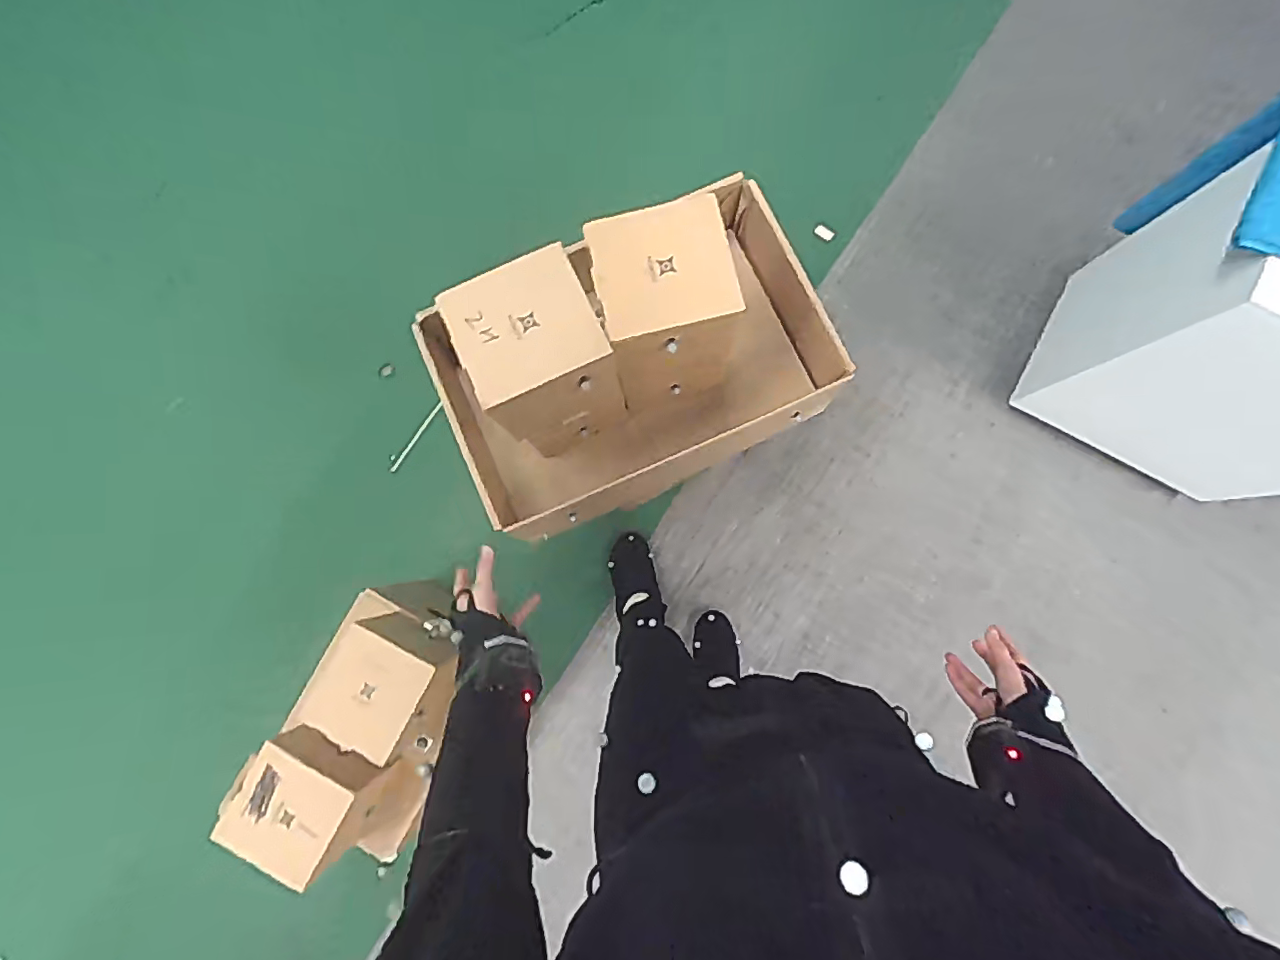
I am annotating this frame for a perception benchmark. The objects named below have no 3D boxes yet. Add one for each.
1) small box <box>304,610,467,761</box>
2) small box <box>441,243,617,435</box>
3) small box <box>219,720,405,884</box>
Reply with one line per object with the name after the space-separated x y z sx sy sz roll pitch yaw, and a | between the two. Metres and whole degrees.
-0.435 0.350 0.960 0.168 0.176 0.179 28 83 4 | small box
-0.139 -0.183 0.749 0.179 0.176 0.168 -25 81 -2 | small box
-0.553 0.533 0.936 0.179 0.176 0.168 28 84 6 | small box
